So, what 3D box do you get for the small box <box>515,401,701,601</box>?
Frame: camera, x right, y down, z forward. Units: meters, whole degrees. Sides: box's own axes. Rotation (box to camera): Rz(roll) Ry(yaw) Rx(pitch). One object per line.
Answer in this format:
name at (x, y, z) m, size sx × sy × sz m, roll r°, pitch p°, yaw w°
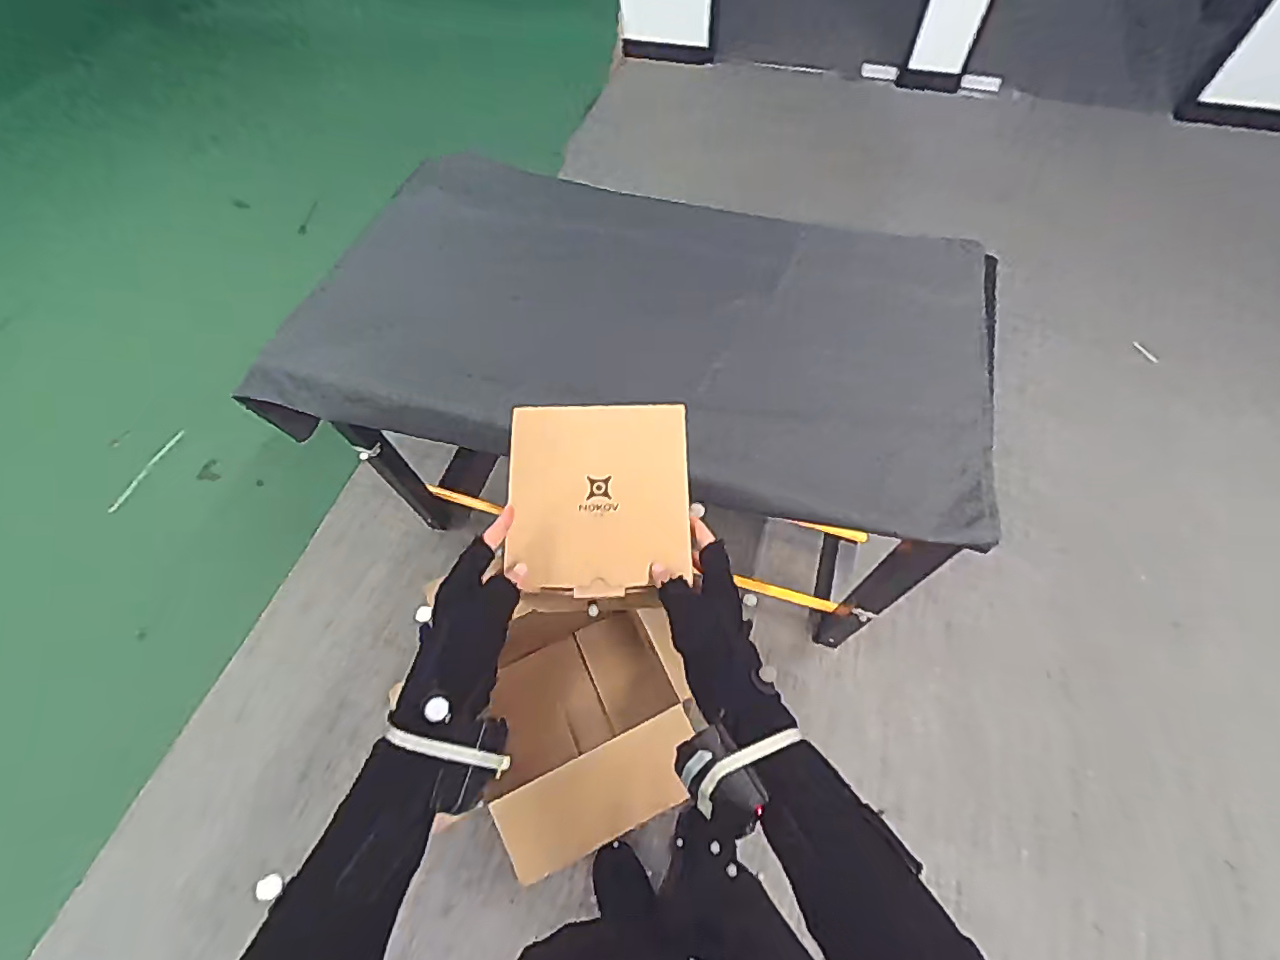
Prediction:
small box at (-0.029, 0.031, 0.572) m, size 0.168 × 0.176 × 0.179 m, roll -1°, pitch 73°, yaw 0°
